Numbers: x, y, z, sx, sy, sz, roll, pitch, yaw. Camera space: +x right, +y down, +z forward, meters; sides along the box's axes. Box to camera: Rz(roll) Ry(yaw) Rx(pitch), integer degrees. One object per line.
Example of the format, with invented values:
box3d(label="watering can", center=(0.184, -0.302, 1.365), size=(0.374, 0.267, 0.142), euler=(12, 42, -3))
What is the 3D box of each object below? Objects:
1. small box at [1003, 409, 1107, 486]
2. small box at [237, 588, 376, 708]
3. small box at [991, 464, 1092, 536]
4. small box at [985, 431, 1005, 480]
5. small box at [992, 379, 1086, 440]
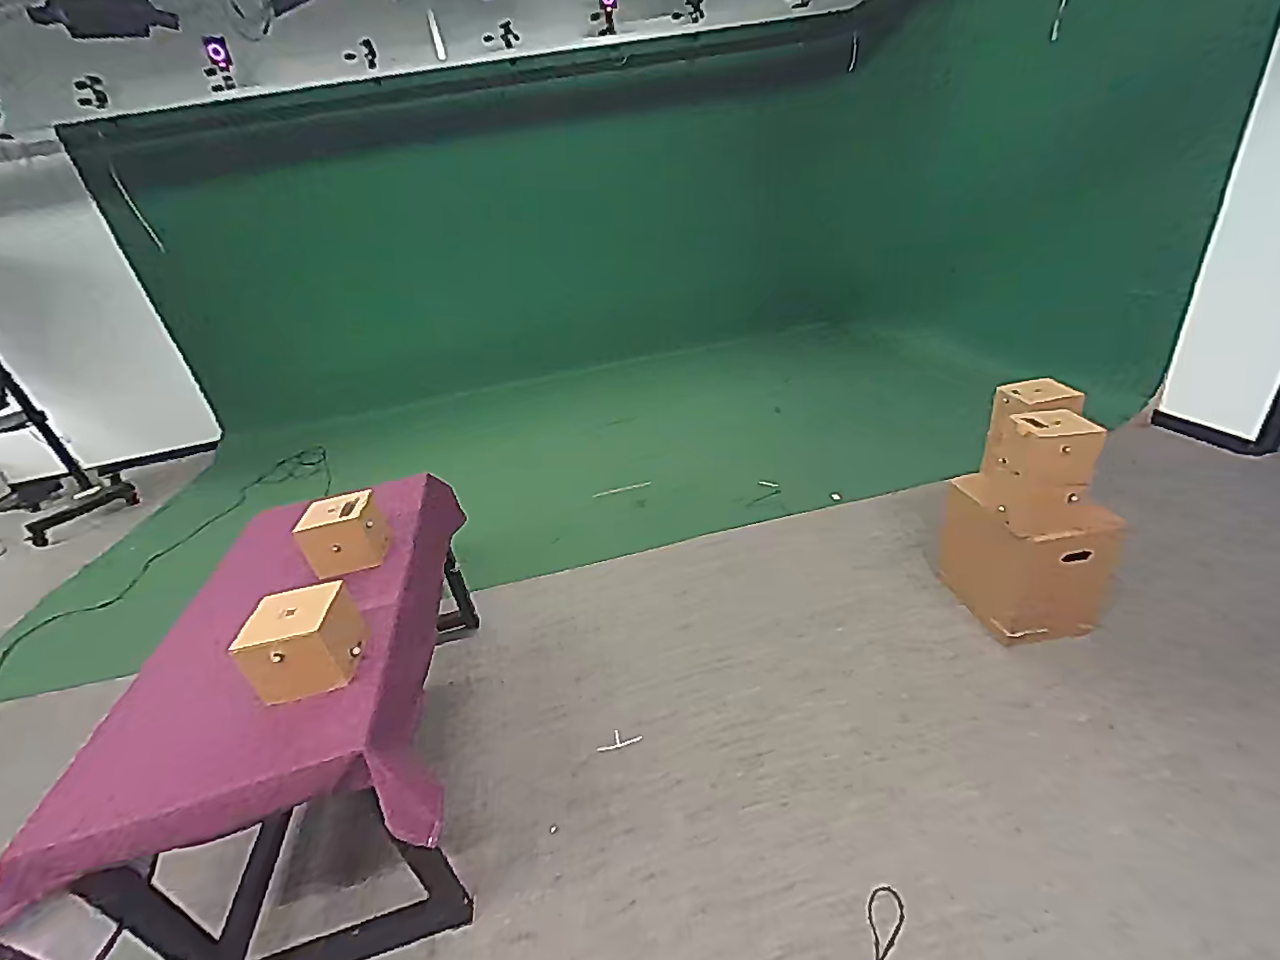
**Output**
box3d(label="small box", center=(1.199, -0.092, 1.583), size=(0.179, 0.176, 0.168), euler=(-6, 28, 3))
box3d(label="small box", center=(-0.712, 0.367, 1.178), size=(0.179, 0.176, 0.168), euler=(-12, 29, -3))
box3d(label="small box", center=(1.220, 0.053, 1.659), size=(0.179, 0.176, 0.168), euler=(-9, 28, 0))
box3d(label="small box", center=(1.328, -0.075, 1.858), size=(0.168, 0.176, 0.179), euler=(-11, 28, -1))
box3d(label="small box", center=(1.300, -0.215, 1.775), size=(0.179, 0.176, 0.168), euler=(-9, 28, 2))
